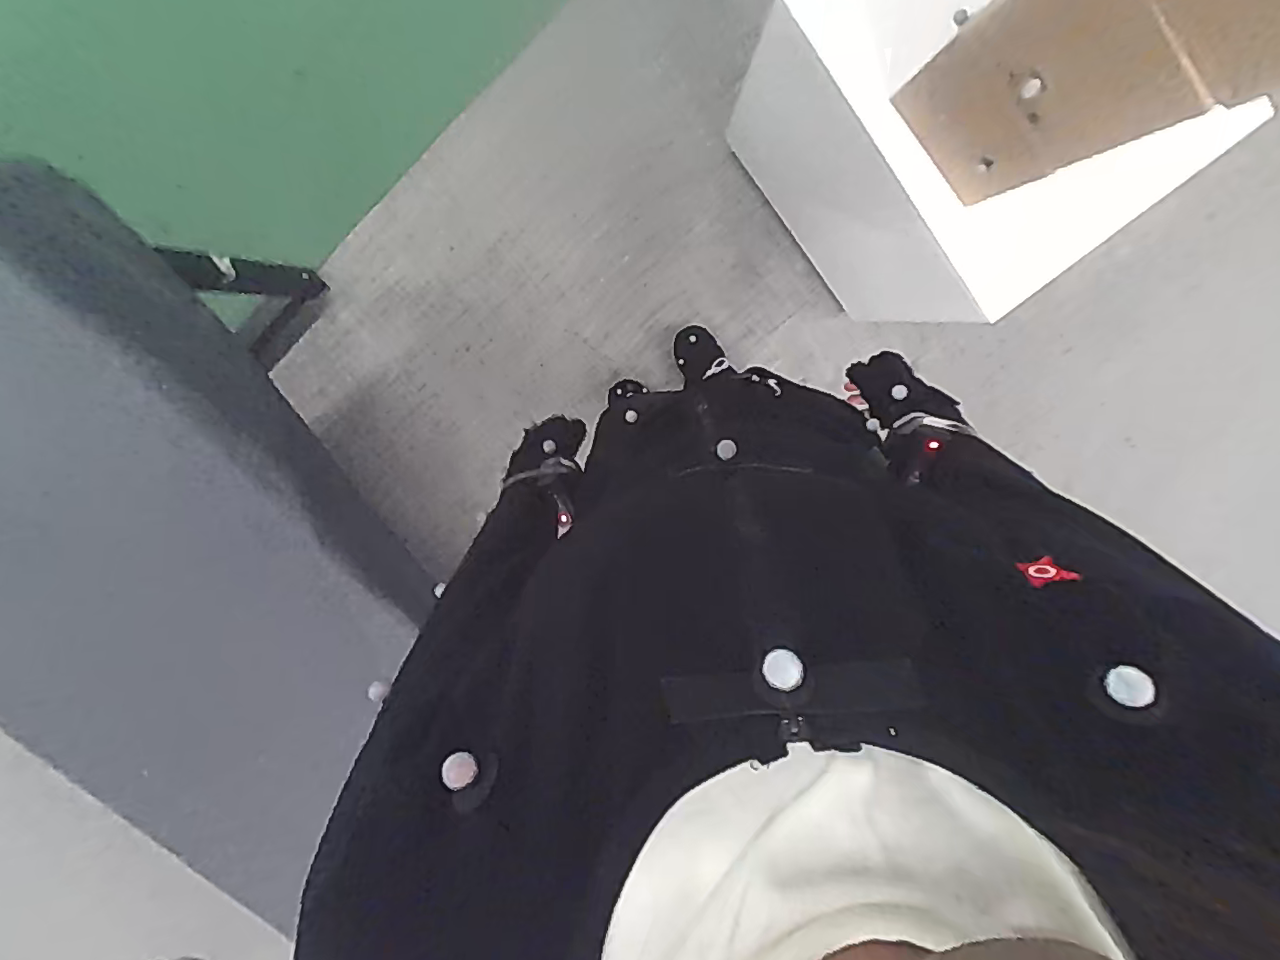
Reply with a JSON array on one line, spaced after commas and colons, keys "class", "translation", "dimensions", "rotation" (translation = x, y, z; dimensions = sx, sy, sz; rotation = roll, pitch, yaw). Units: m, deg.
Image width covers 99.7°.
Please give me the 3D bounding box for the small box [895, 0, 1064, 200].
[{"class": "small box", "translation": [0.427, -0.442, 0.599], "dimensions": [0.168, 0.176, 0.179], "rotation": [-42, 99, 11]}]
